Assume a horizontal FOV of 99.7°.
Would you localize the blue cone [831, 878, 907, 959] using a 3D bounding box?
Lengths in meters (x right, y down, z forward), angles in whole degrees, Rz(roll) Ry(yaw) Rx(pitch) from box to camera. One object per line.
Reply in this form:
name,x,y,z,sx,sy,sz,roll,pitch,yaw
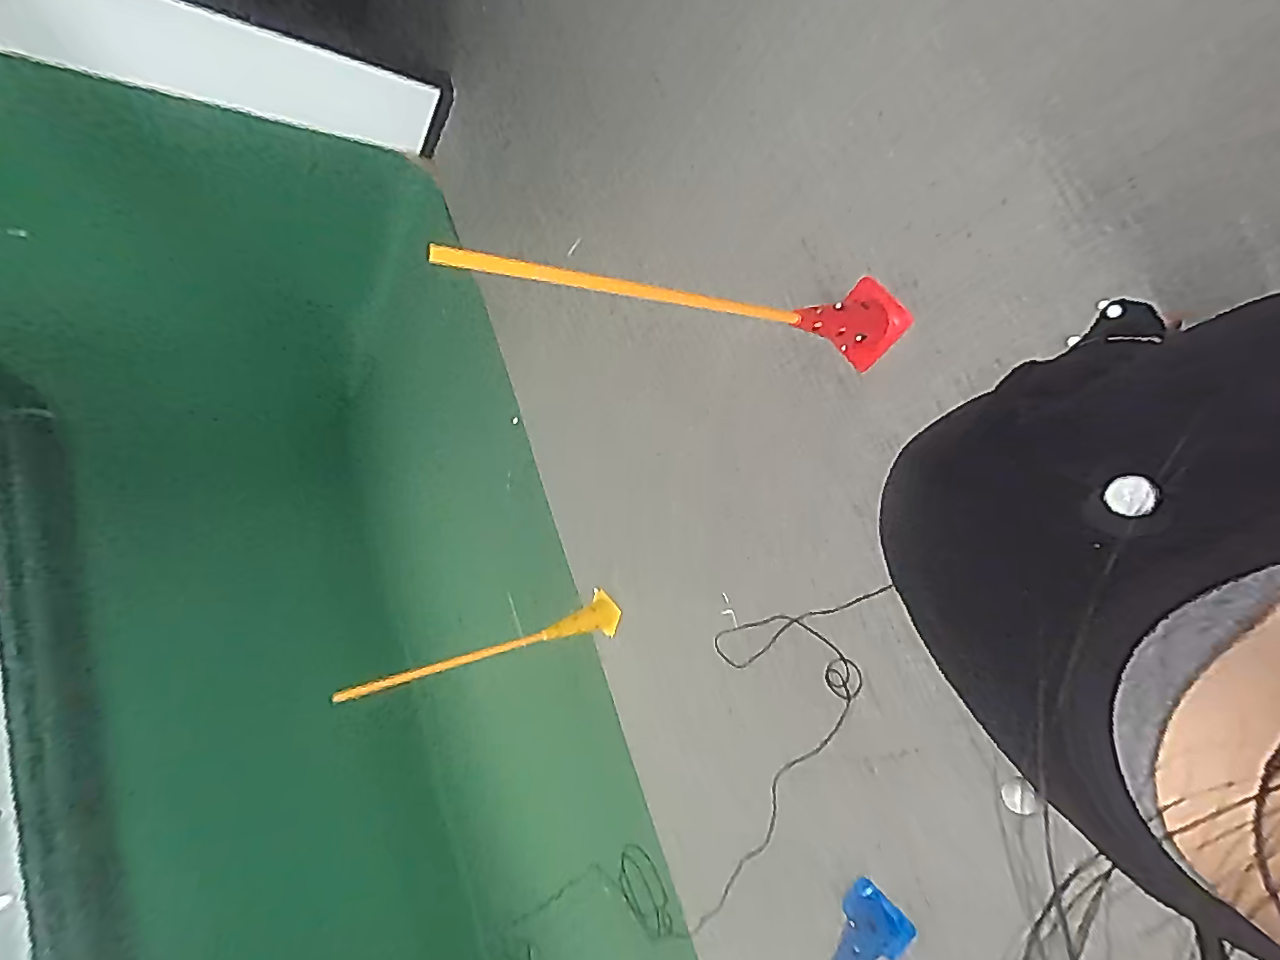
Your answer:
blue cone,0.646,1.452,1.664,0.193,0.380,0.192,32,120,38
